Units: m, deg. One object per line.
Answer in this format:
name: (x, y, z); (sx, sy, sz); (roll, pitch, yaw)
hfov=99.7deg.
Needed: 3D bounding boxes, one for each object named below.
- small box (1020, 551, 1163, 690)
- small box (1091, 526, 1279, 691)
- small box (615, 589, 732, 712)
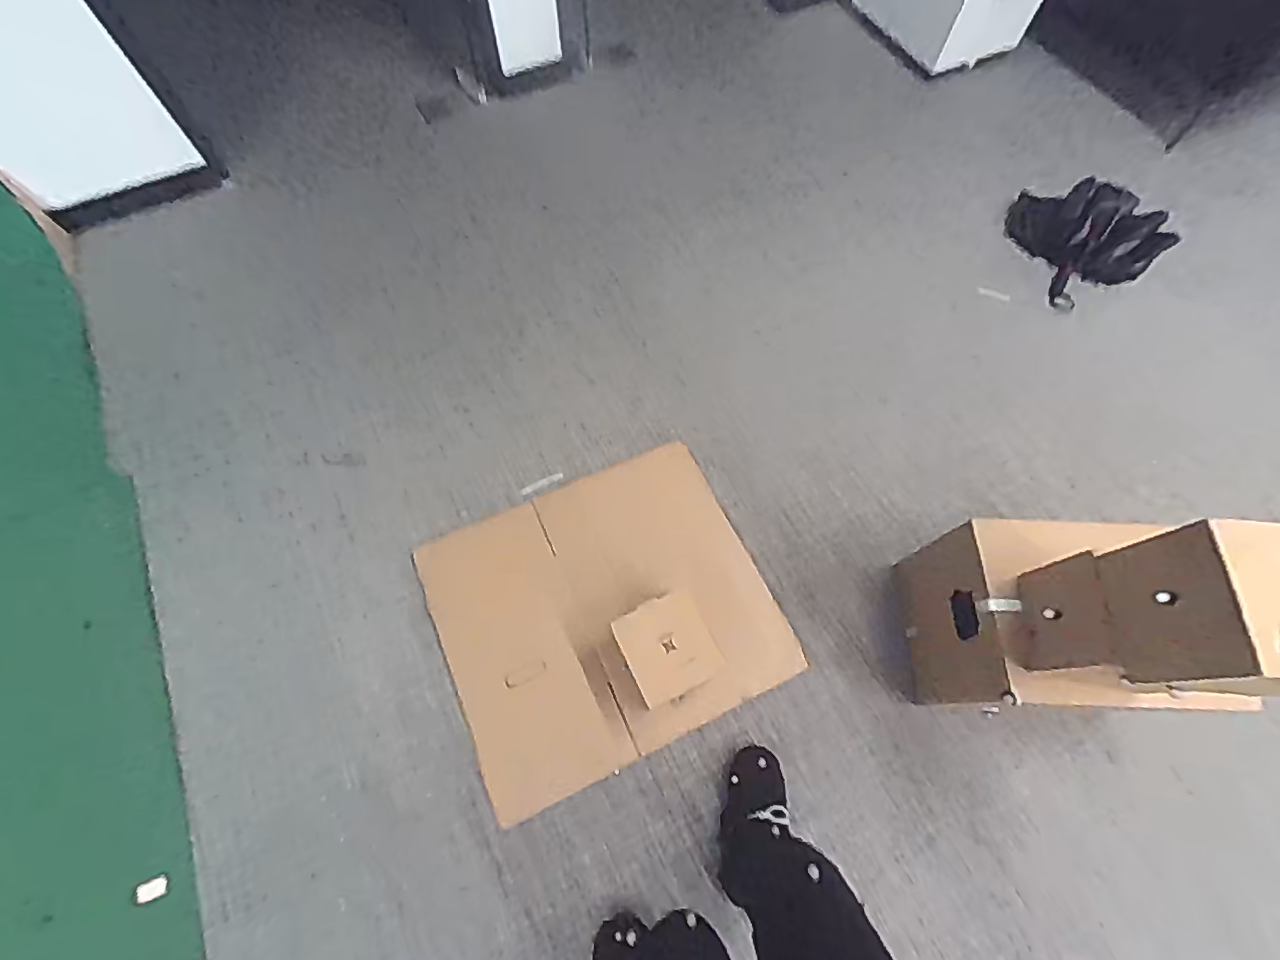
small box: (0.721, 0.221, 0.827); (0.179, 0.176, 0.168); (7, 64, 2)
small box: (0.719, 0.165, 0.669); (0.168, 0.176, 0.179); (1, 67, 0)
small box: (0.060, 0.347, 1.084); (0.168, 0.176, 0.179); (-26, 69, -9)
